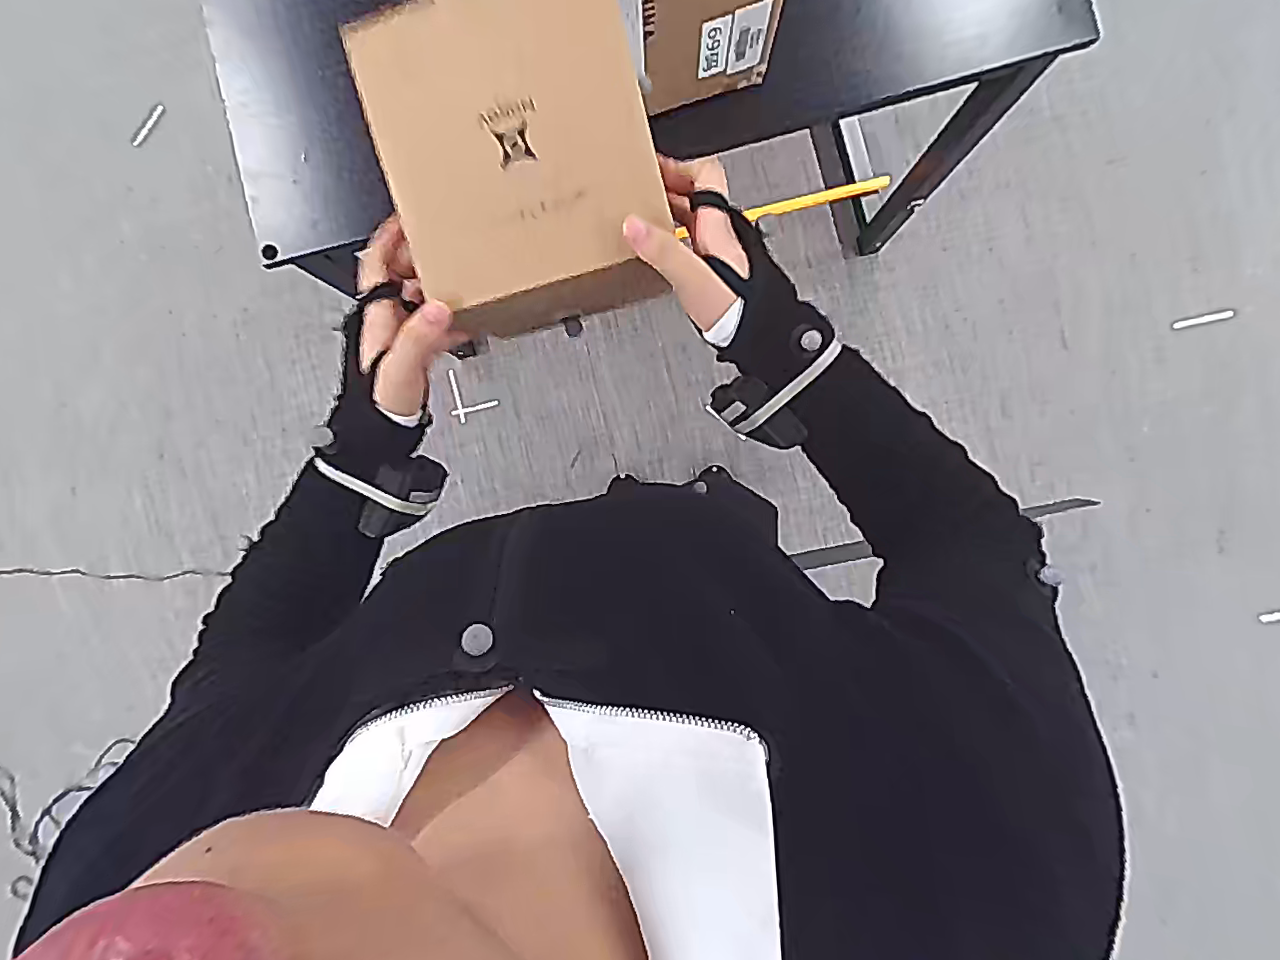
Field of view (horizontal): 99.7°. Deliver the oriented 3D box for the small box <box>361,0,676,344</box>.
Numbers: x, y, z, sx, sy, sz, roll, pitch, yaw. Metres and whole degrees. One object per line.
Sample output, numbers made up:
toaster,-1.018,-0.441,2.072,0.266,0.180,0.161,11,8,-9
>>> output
small box,-0.073,-0.220,0.421,0.168,0.176,0.179,-15,97,5
